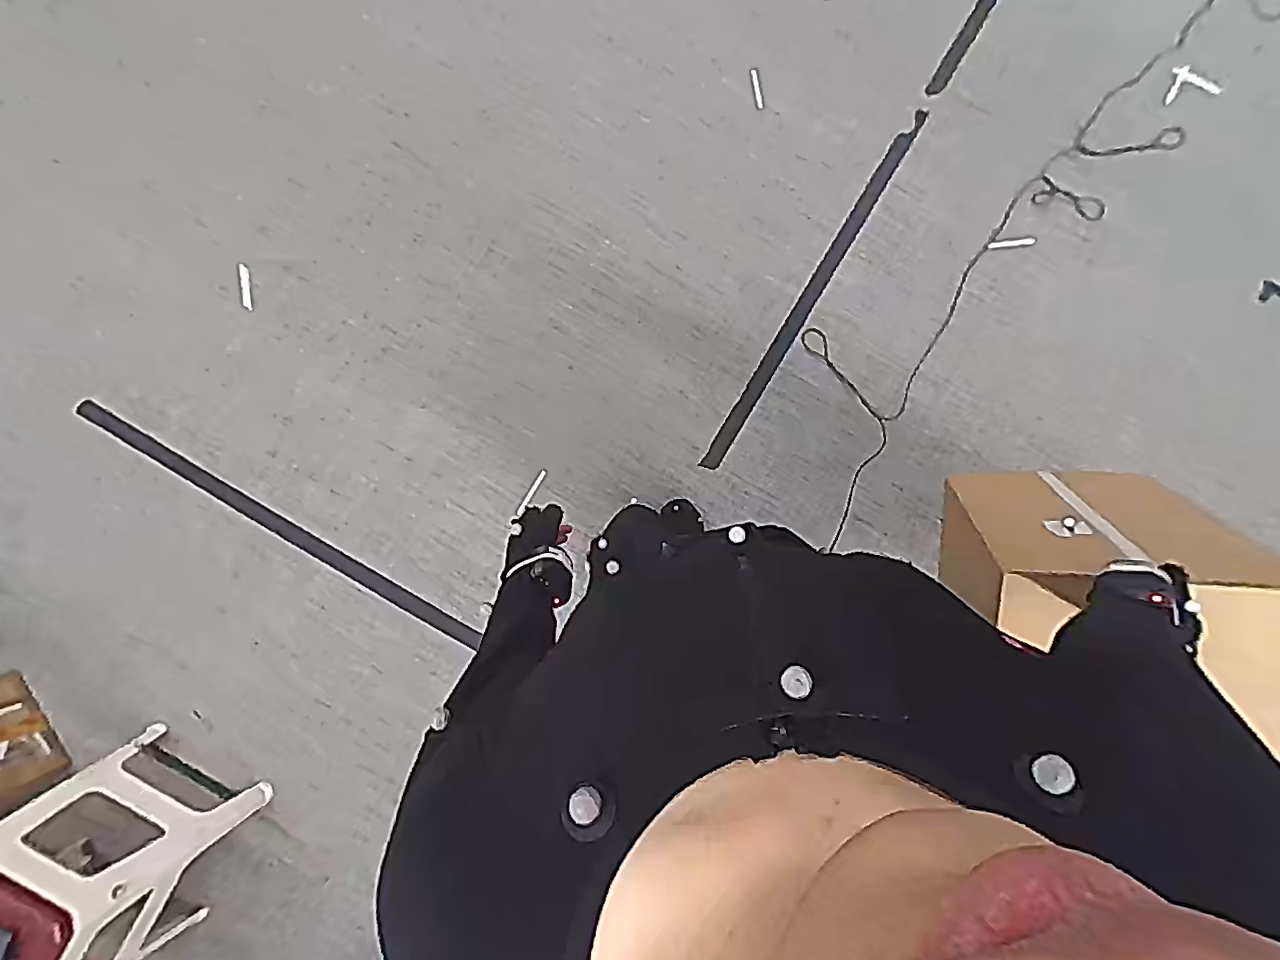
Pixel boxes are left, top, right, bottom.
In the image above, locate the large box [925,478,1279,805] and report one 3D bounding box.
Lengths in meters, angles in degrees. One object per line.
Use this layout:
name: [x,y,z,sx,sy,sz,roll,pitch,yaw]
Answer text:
large box: [0.677,0.211,0.871,0.320,0.408,0.320,1,110,18]
